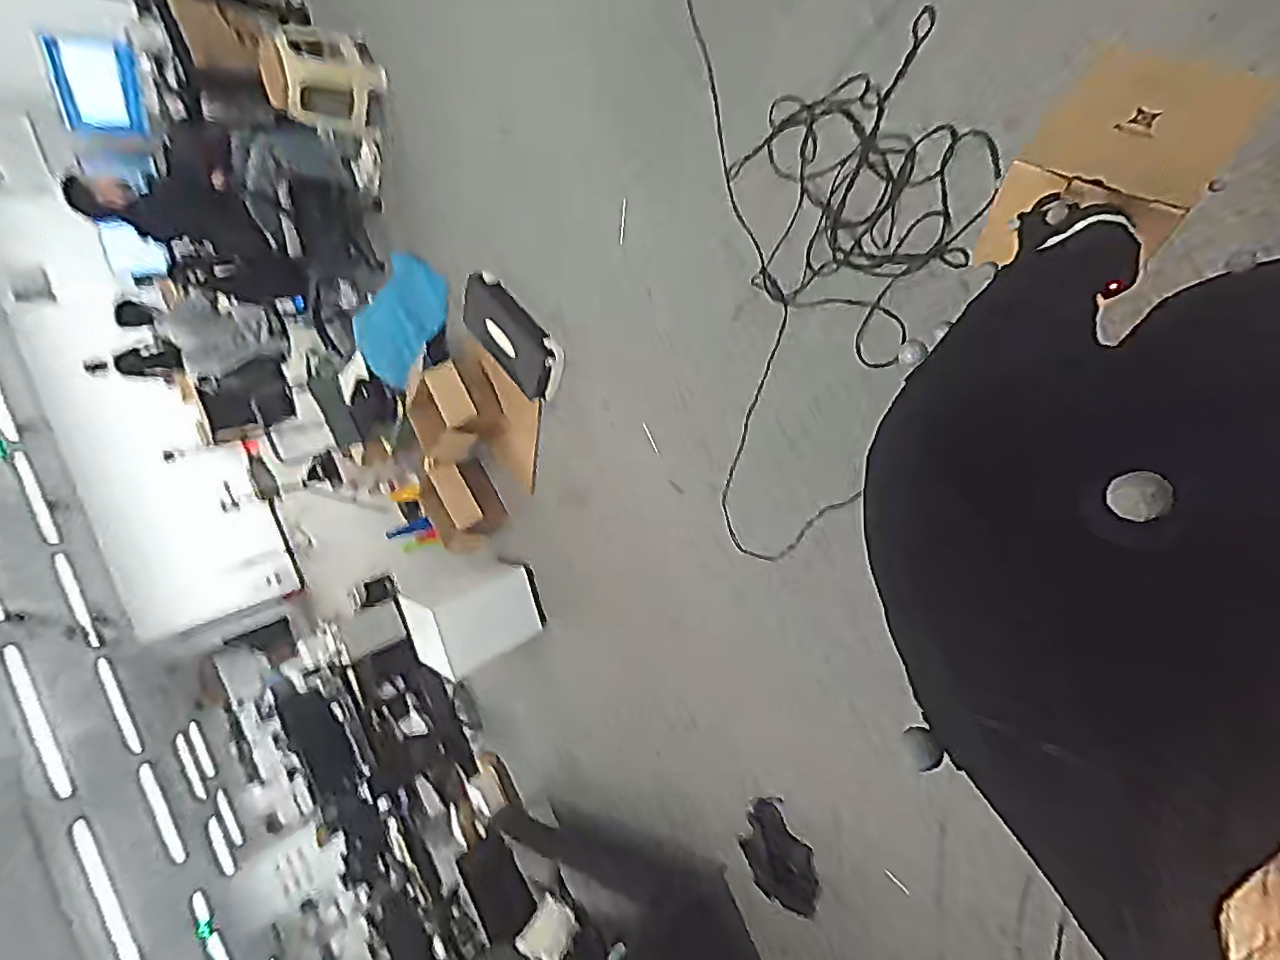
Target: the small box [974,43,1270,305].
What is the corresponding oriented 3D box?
[{"bbox_3d":[0.516,-0.335,0.615,0.168,0.179,0.176,34,174,22],"label":"small box"}]
